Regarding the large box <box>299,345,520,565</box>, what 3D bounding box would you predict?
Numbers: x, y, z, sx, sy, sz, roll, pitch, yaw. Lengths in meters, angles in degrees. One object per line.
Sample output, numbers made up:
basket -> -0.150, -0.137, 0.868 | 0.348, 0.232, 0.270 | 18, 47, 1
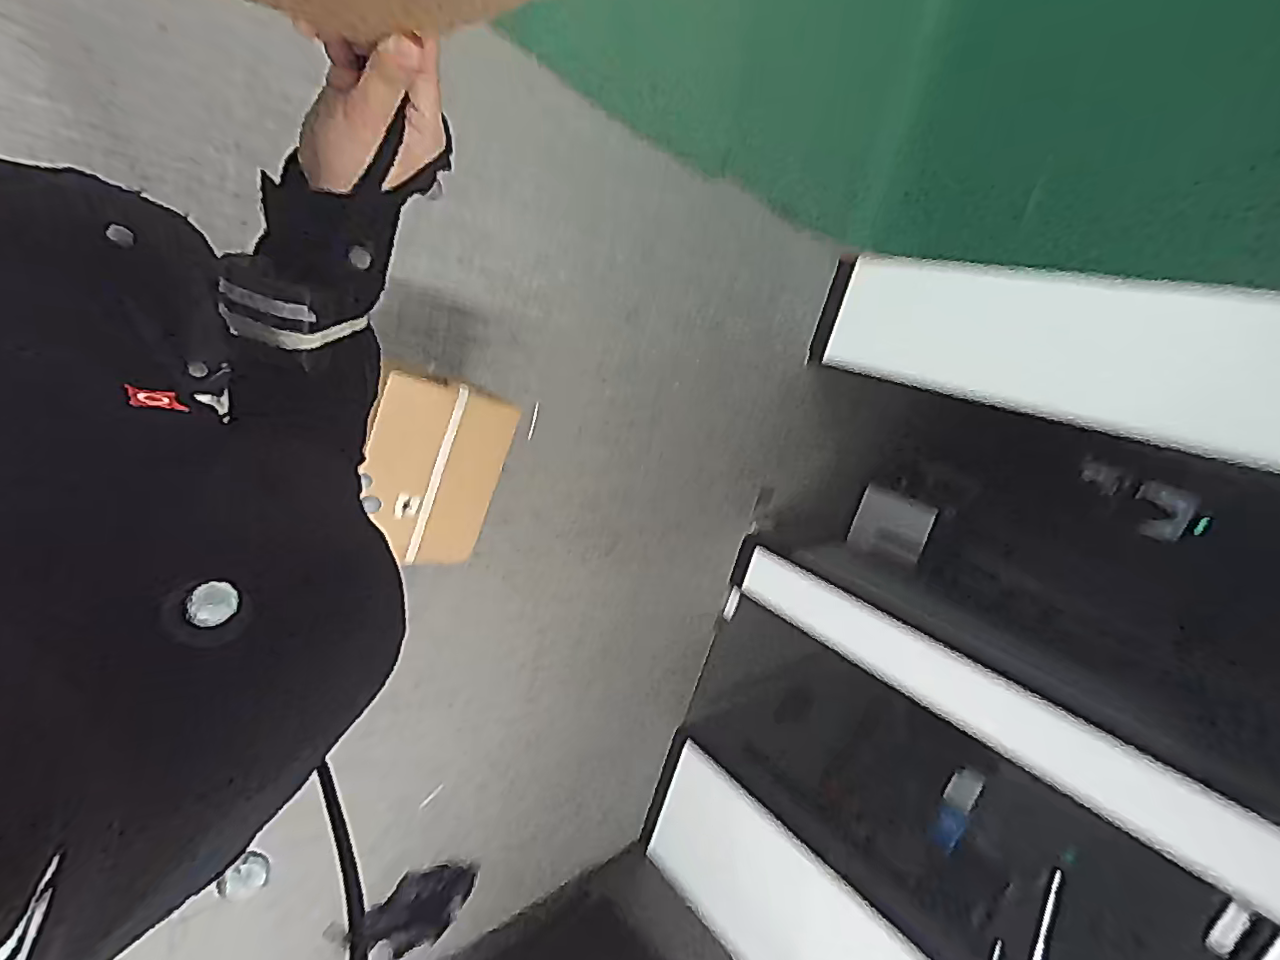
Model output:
large box -> -0.542, -0.052, 1.263 | 0.320, 0.320, 0.408 | 13, 103, -47
